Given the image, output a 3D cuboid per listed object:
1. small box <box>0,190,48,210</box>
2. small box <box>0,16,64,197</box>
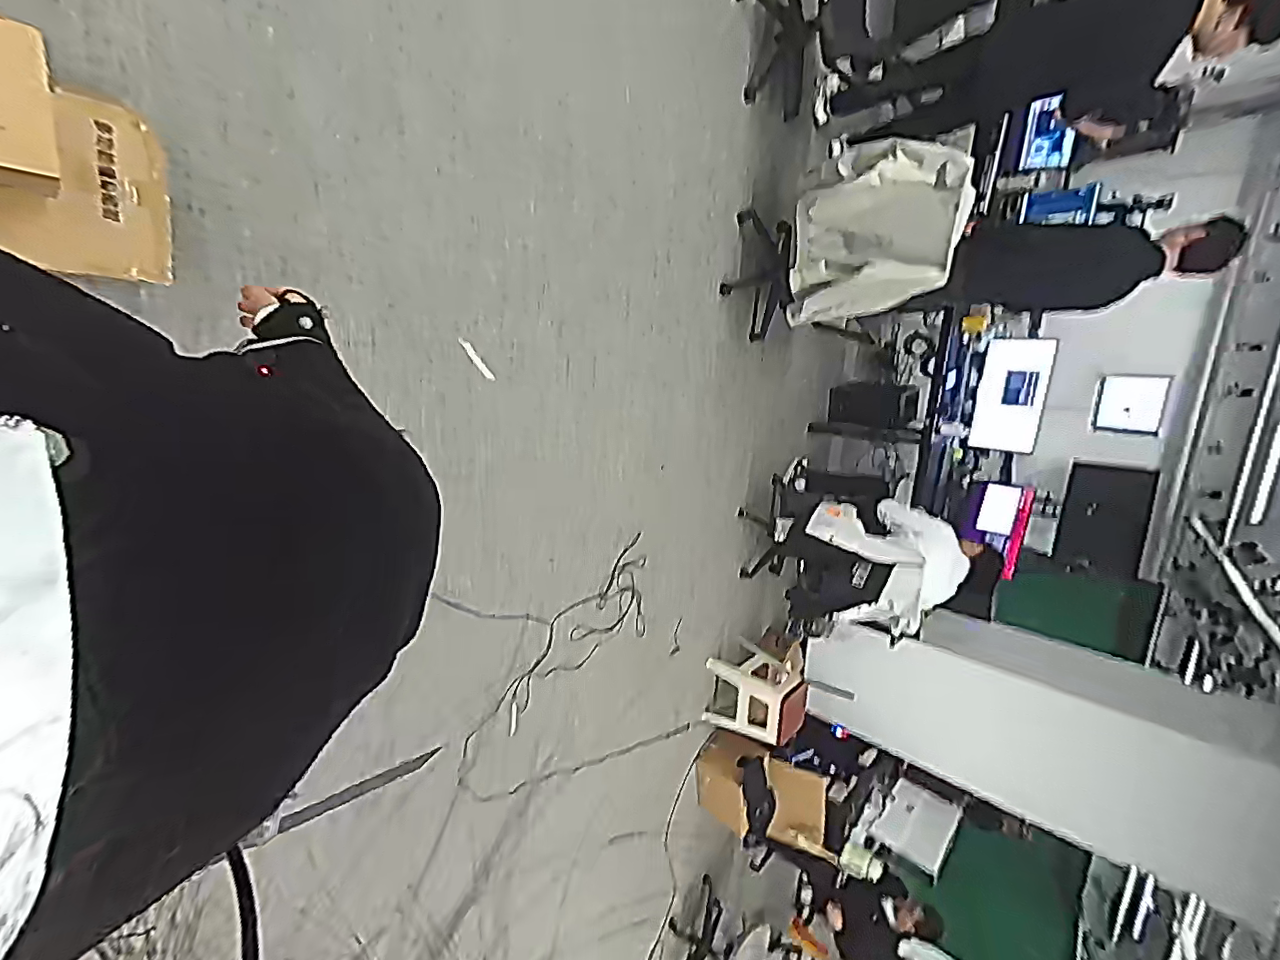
[{"bbox_3d":[-1.000,-0.518,0.794,0.168,0.176,0.179,-5,104,-46],"label":"small box"},{"bbox_3d":[-0.874,-0.489,0.693,0.168,0.176,0.179,-10,107,-46],"label":"small box"}]
